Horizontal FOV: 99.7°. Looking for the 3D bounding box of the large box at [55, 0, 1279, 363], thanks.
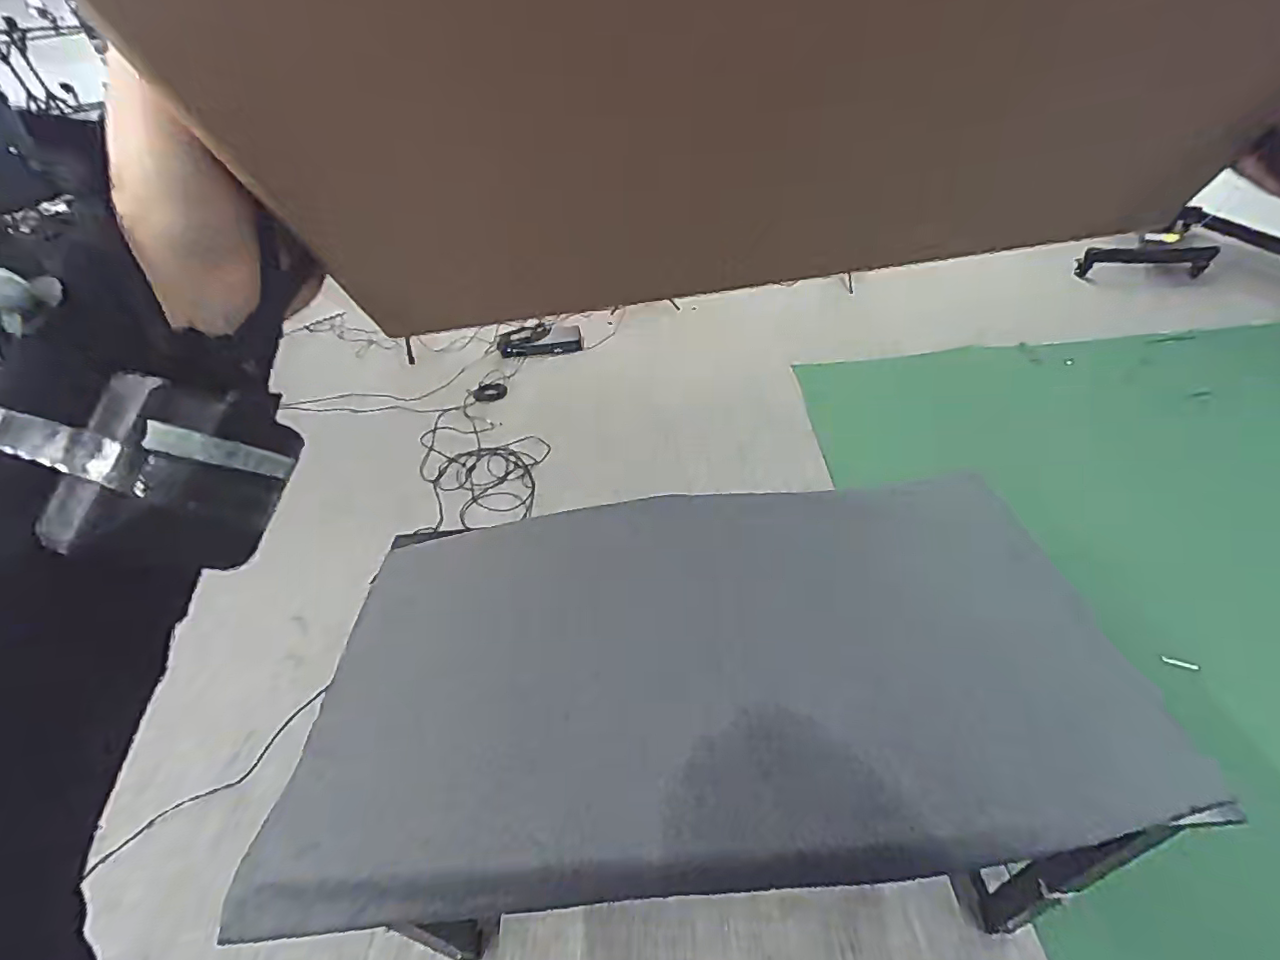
[{"bbox_3d":[0.028,-0.279,0.205,0.408,0.320,0.320,-8,73,2],"label":"large box"}]
